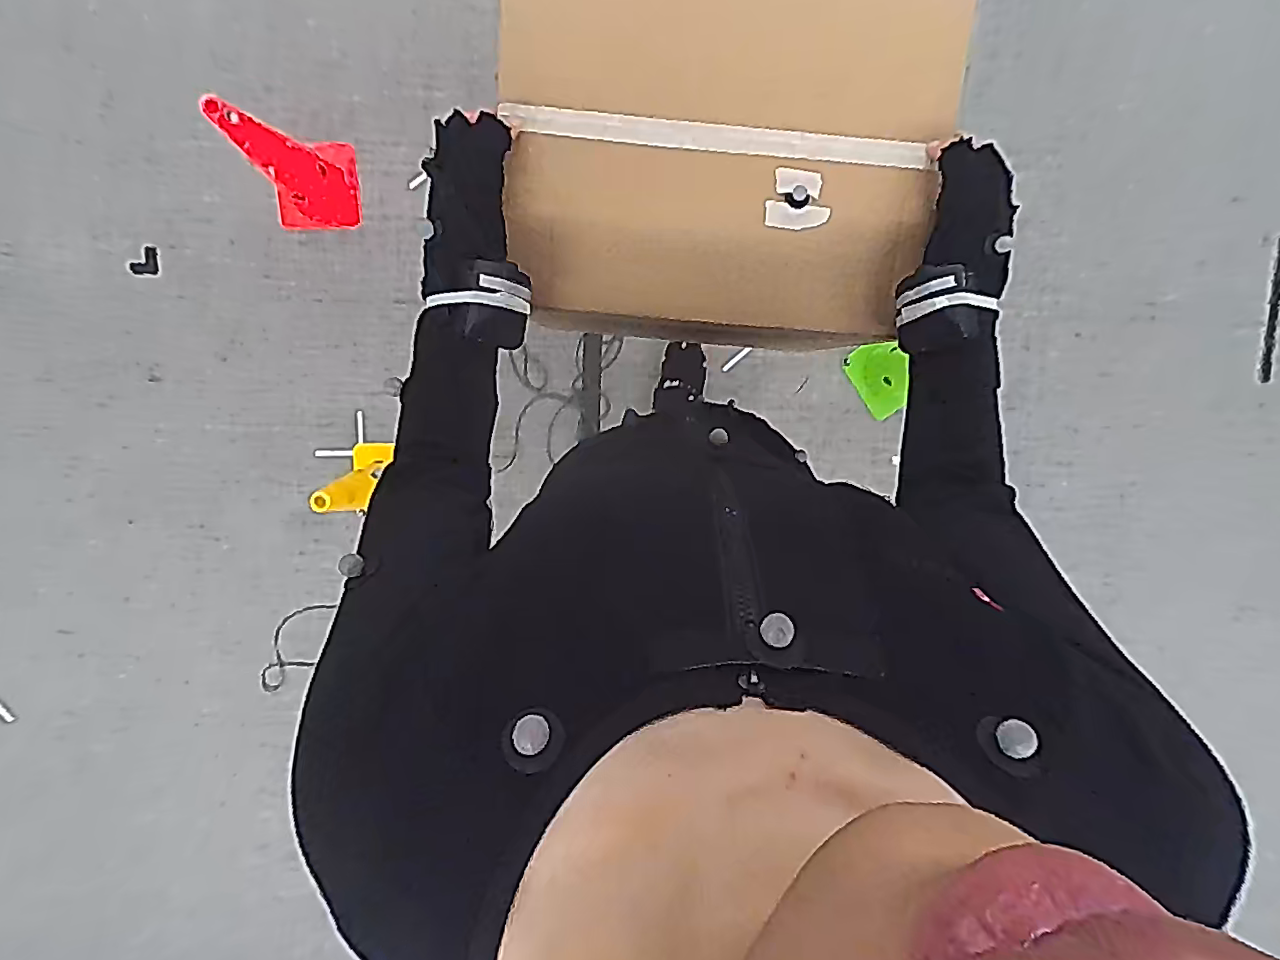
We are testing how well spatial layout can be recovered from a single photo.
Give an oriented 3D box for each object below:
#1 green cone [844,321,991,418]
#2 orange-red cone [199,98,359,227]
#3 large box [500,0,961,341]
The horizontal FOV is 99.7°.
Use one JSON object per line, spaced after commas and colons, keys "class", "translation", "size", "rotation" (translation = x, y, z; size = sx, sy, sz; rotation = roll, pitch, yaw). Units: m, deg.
{"class": "green cone", "translation": [0.676, -0.273, 1.267], "size": [0.202, 0.368, 0.200], "rotation": [-36, 97, 1]}
{"class": "orange-red cone", "translation": [-0.796, -0.706, 1.169], "size": [0.198, 0.360, 0.199], "rotation": [-1, 98, -1]}
{"class": "large box", "translation": [0.068, -0.341, 0.629], "size": [0.408, 0.320, 0.320], "rotation": [4, 101, -3]}
